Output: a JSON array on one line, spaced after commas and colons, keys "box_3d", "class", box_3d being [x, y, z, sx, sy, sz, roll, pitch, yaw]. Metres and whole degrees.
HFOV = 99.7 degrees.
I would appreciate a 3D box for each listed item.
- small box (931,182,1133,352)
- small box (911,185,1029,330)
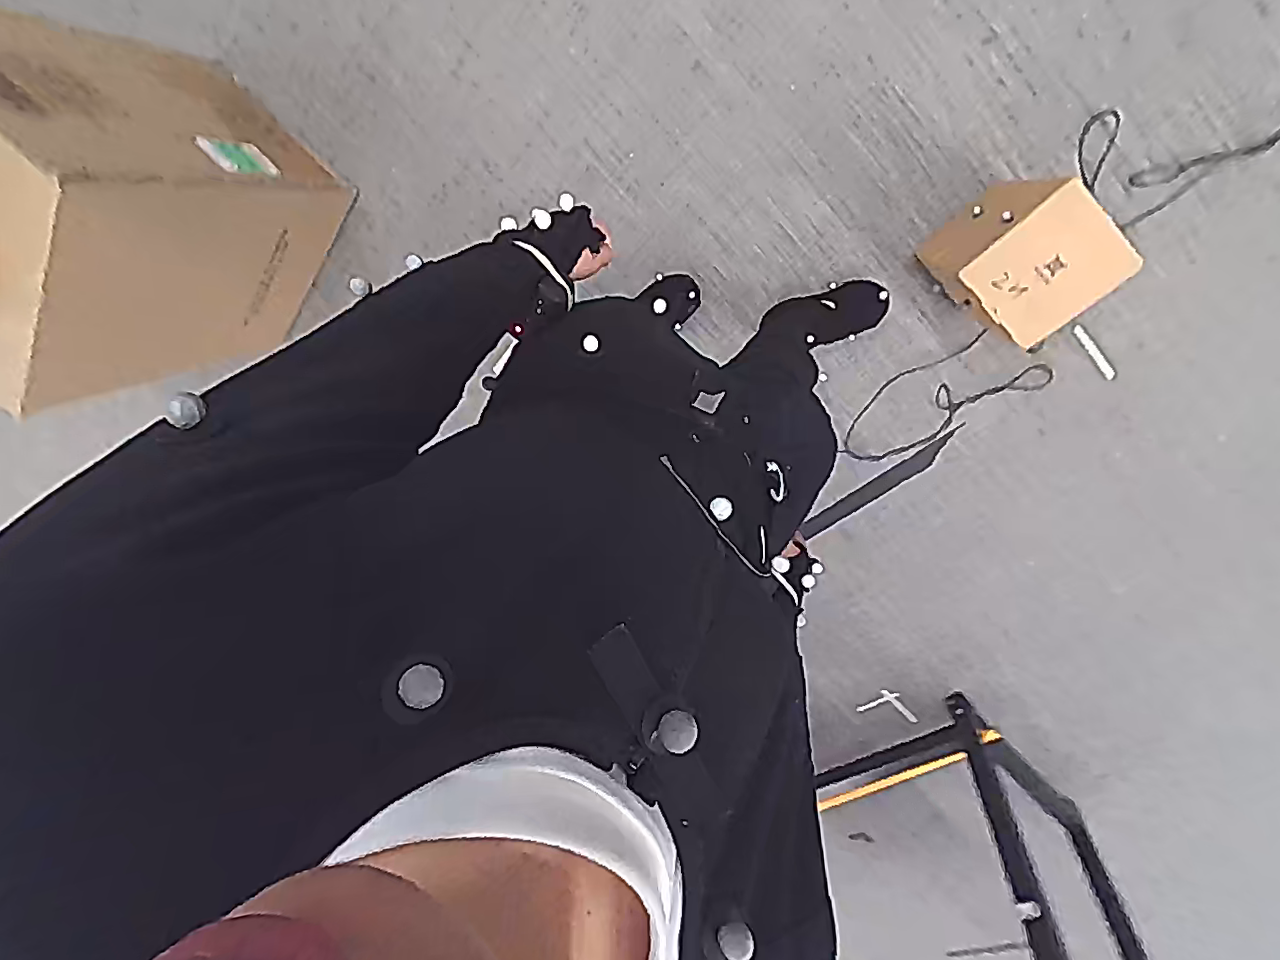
[{"box_3d": [0.600, -0.338, 0.855, 0.168, 0.176, 0.179, 44, 119, -9], "class": "small box"}, {"box_3d": [0.637, -0.412, 0.998, 0.168, 0.176, 0.179, 45, 119, -10], "class": "small box"}]
